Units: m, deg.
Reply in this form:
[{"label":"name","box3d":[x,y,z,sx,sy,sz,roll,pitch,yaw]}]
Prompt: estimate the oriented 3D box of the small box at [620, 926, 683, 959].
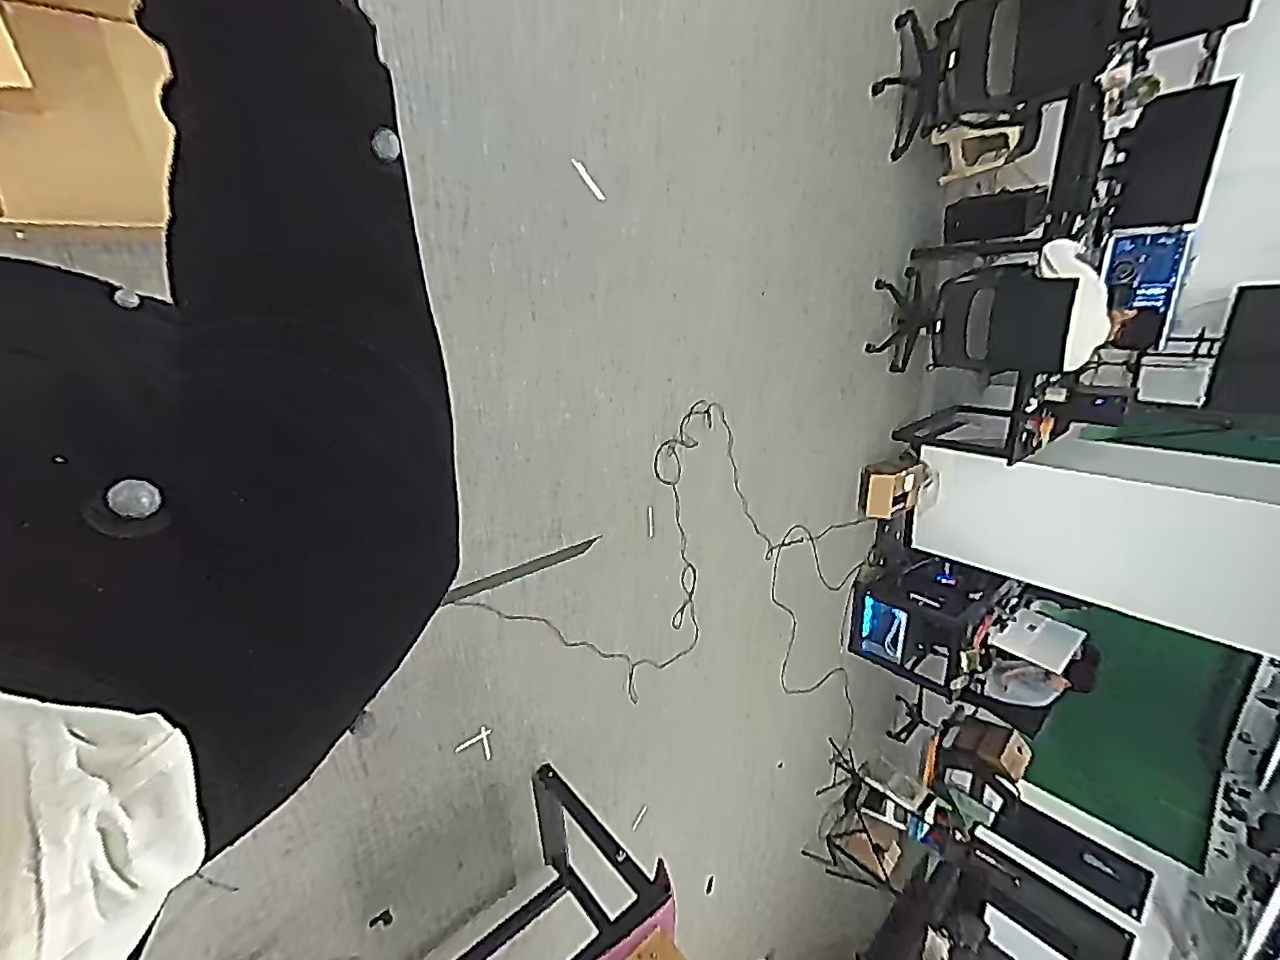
[{"label":"small box","box3d":[0.050,1.540,1.658,0.168,0.176,0.179,-21,115,-34]}]
